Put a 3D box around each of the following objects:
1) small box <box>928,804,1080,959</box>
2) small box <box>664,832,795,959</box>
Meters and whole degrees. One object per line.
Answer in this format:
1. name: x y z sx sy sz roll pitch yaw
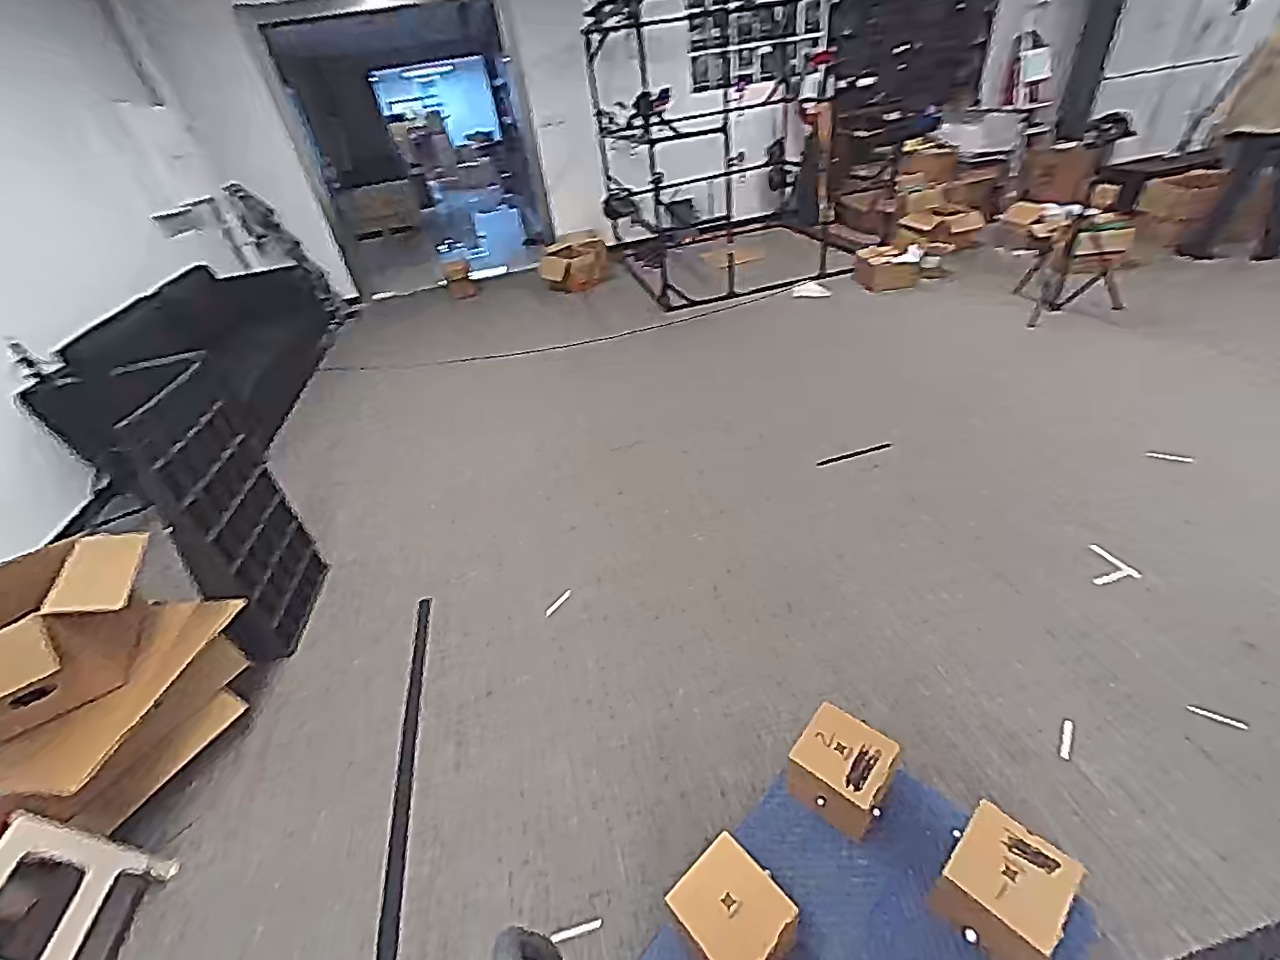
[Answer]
1. small box: 0.656 0.753 0.992 0.179 0.176 0.168 -33 42 -29
2. small box: 0.164 0.820 1.008 0.168 0.176 0.179 -31 42 -28
